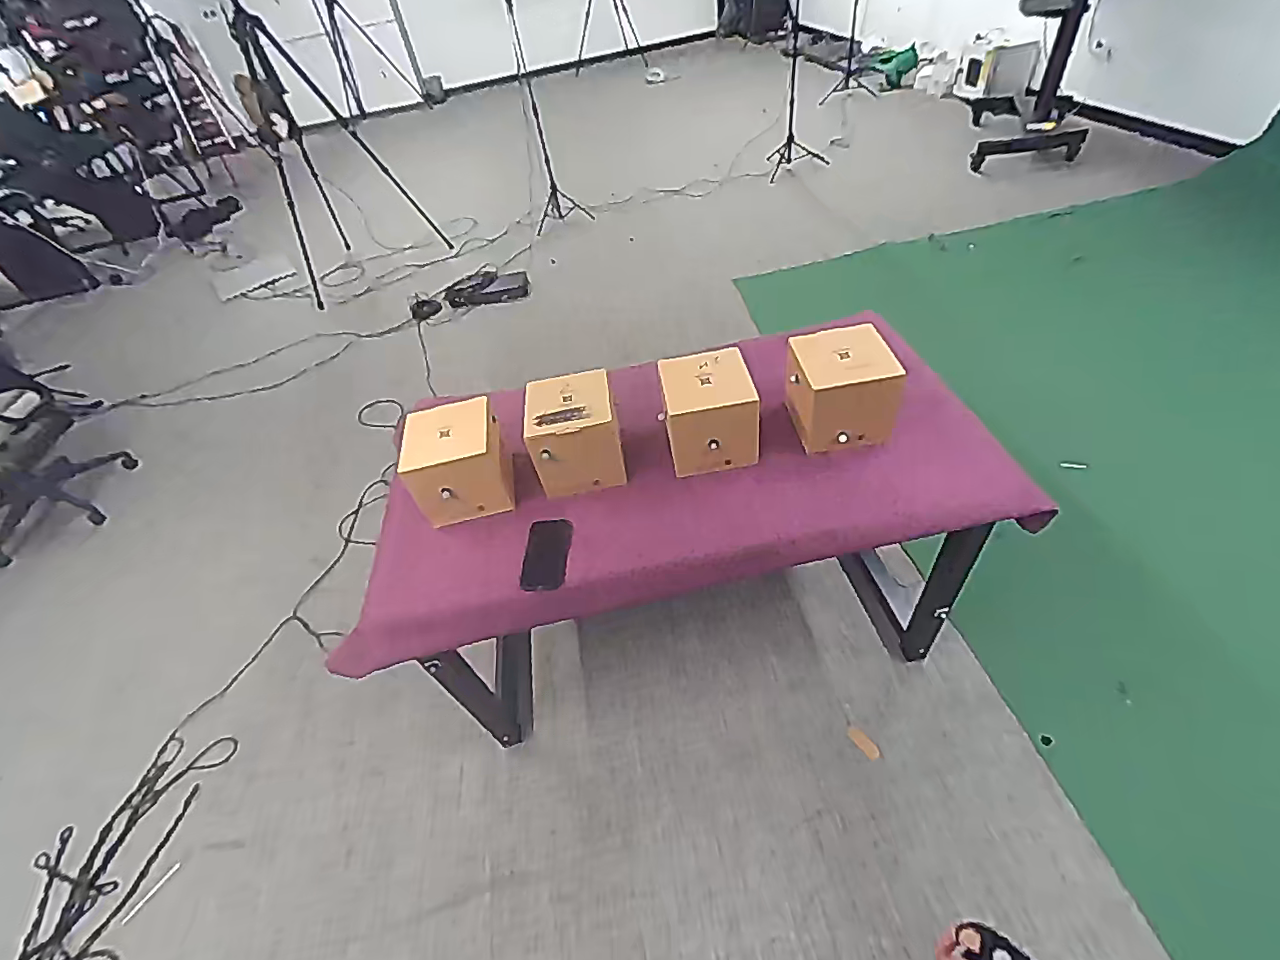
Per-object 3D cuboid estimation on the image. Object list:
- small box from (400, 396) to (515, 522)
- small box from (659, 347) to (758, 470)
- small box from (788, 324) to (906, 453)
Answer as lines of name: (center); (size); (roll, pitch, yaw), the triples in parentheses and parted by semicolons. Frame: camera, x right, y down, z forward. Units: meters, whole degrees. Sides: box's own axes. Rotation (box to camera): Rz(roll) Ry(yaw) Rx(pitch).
small box: (-0.354, -0.035, 1.080); (0.168, 0.176, 0.179); (-14, 45, -2)
small box: (0.137, -0.134, 1.074); (0.168, 0.176, 0.179); (-9, 46, 2)
small box: (0.393, -0.179, 1.066); (0.168, 0.176, 0.179); (-9, 46, 4)
